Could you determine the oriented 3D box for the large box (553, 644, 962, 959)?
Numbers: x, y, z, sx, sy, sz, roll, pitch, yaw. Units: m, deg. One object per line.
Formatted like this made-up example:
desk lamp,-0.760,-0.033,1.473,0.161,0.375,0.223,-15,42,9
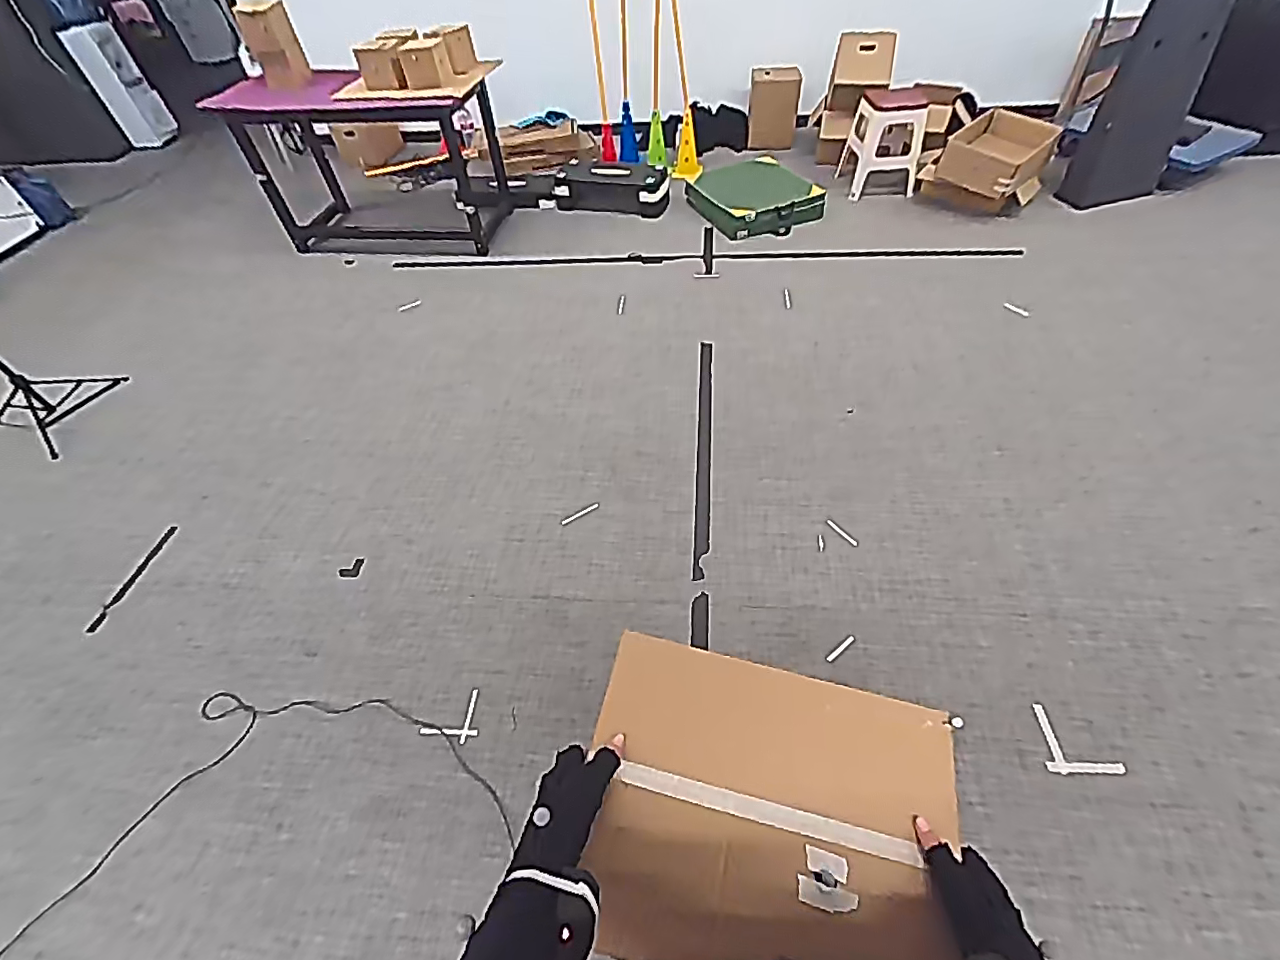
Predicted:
large box,0.136,0.456,0.711,0.408,0.320,0.320,12,56,8
